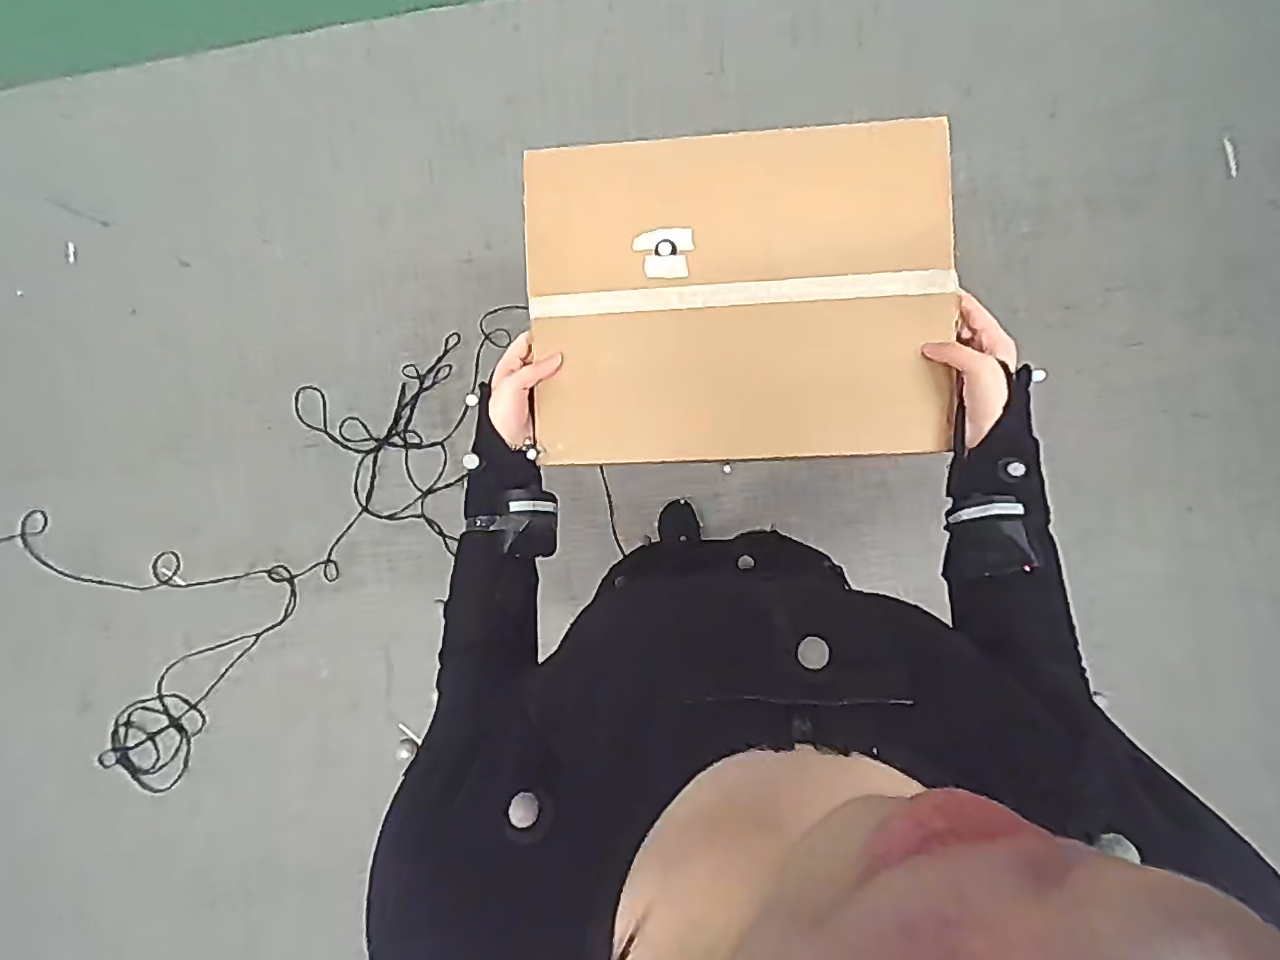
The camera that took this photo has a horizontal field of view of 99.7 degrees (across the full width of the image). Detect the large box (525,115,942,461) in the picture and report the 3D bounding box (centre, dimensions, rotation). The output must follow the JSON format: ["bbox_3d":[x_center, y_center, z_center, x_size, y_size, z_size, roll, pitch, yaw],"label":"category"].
[{"bbox_3d":[0.104,-0.190,0.683,0.408,0.320,0.320,-2,91,6],"label":"large box"}]
